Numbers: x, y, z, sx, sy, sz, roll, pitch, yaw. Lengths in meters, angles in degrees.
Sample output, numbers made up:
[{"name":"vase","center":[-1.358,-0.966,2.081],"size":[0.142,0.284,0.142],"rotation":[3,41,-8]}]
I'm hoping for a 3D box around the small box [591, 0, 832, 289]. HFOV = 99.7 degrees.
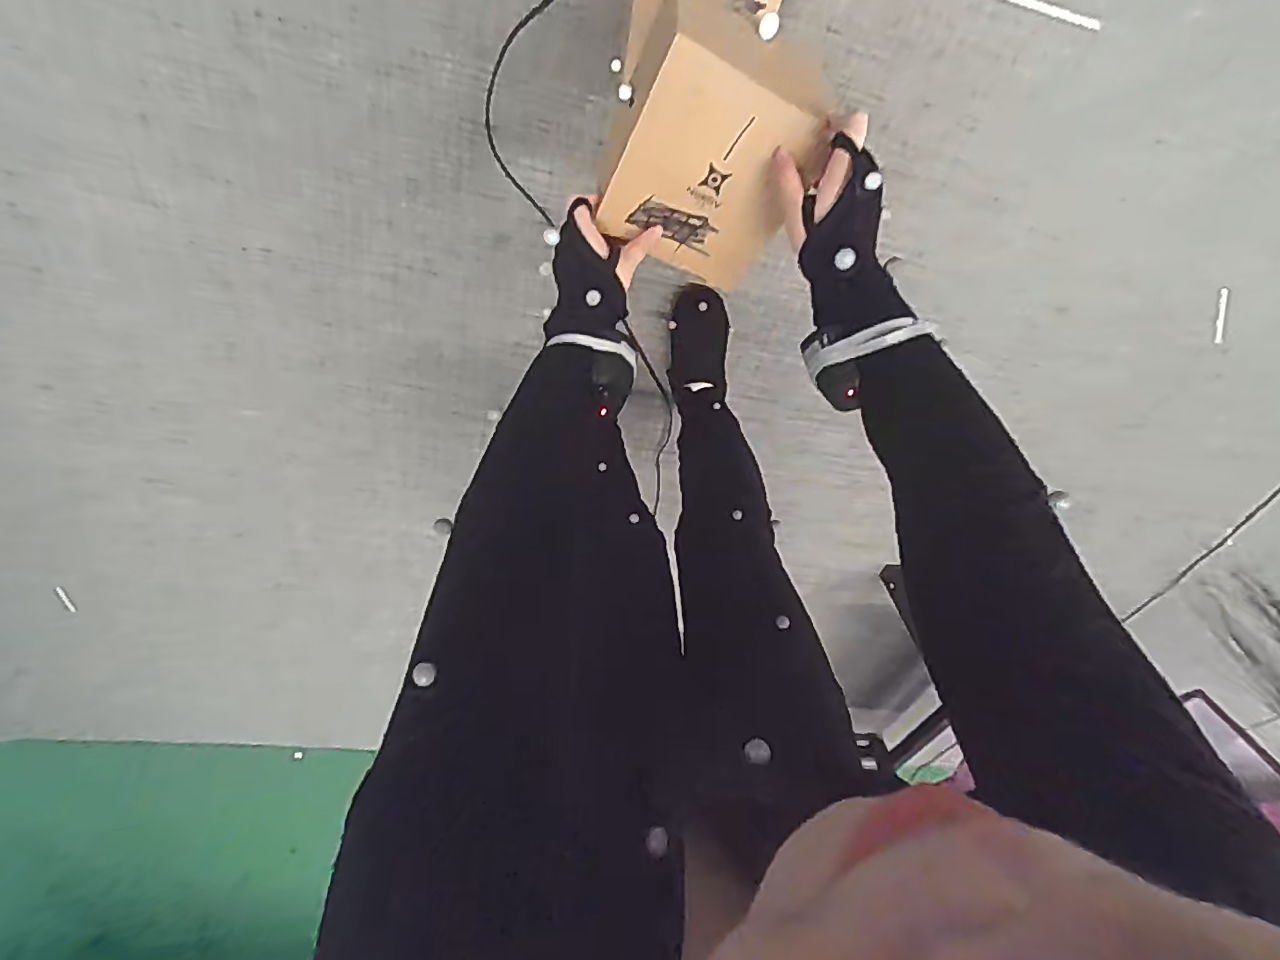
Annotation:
[{"name":"small box","center":[0.064,-0.339,0.546],"size":[0.168,0.176,0.179],"rotation":[17,143,-19]}]
